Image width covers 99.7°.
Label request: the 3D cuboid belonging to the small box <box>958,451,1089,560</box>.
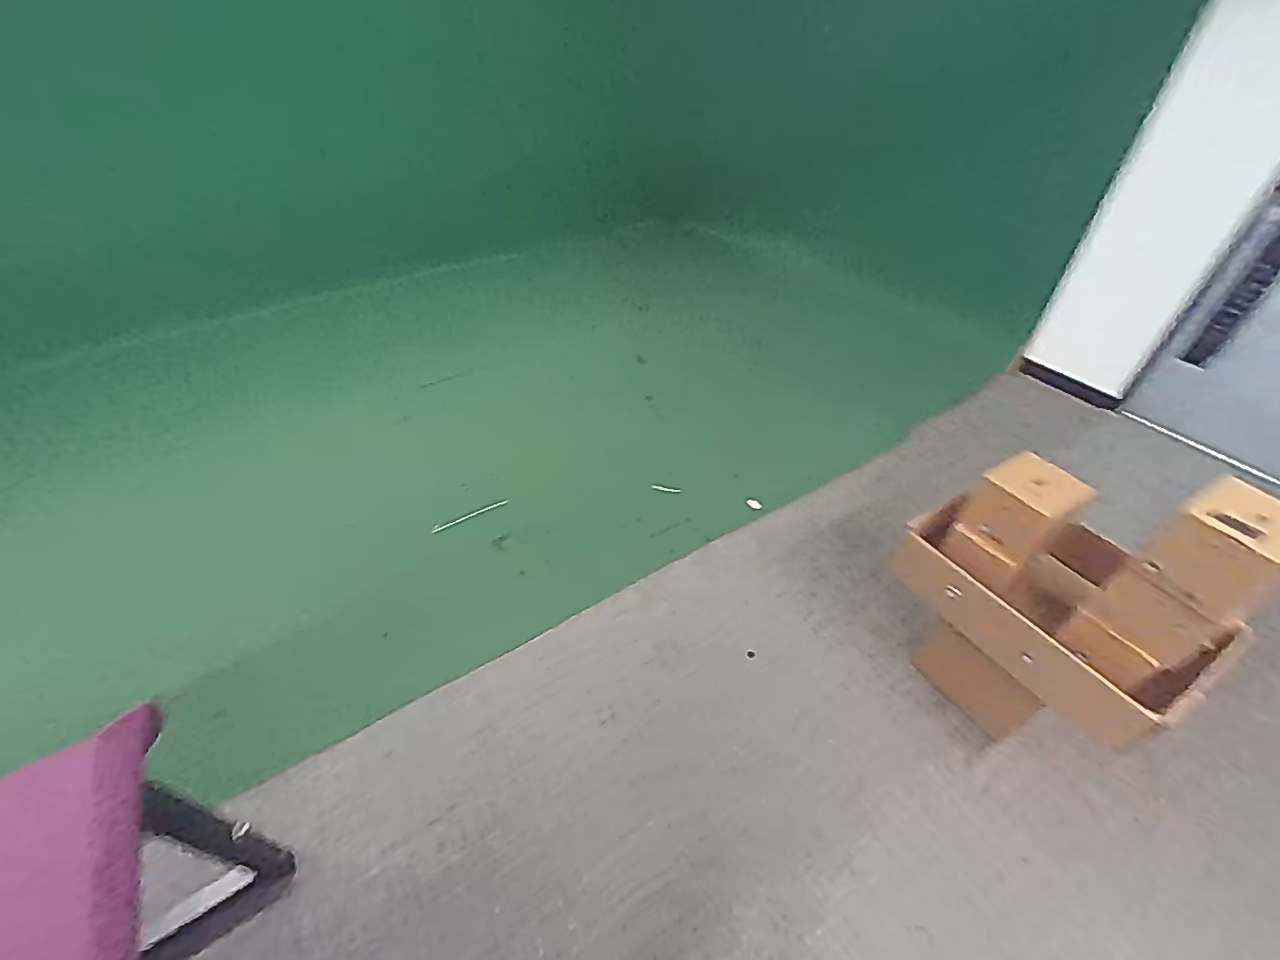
[{"bbox_3d":[0.920,0.062,1.316,0.179,0.176,0.168,-22,46,-20],"label":"small box"}]

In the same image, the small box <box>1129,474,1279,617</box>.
[{"bbox_3d":[1.078,0.124,1.010,0.179,0.176,0.168,-22,49,-21],"label":"small box"}]
